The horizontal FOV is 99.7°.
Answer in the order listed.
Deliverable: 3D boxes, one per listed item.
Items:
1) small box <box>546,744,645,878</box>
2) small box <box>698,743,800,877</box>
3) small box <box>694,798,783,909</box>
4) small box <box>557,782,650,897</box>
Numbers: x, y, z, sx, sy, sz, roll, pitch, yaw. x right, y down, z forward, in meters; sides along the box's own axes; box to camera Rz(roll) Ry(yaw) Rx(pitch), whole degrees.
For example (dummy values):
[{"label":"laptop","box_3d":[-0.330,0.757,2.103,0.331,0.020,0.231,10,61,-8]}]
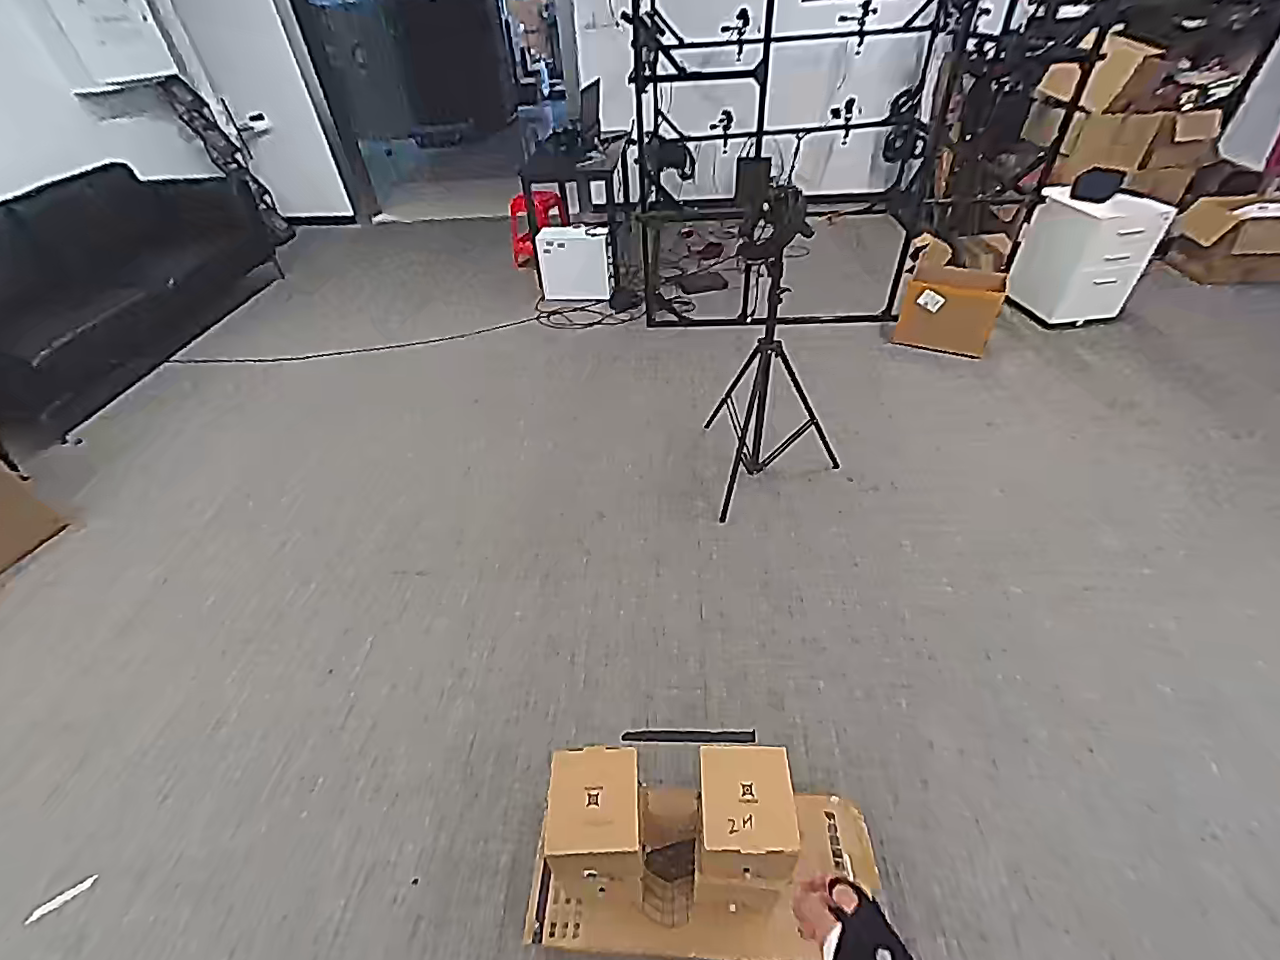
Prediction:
[{"label":"small box","box_3d":[-0.079,0.636,1.040,0.168,0.176,0.179,-5,42,0]},{"label":"small box","box_3d":[0.198,0.626,1.029,0.168,0.176,0.179,-1,41,4]},{"label":"small box","box_3d":[0.200,0.760,1.128,0.168,0.176,0.179,2,42,7]},{"label":"small box","box_3d":[-0.068,0.759,1.147,0.168,0.176,0.179,1,42,6]}]
